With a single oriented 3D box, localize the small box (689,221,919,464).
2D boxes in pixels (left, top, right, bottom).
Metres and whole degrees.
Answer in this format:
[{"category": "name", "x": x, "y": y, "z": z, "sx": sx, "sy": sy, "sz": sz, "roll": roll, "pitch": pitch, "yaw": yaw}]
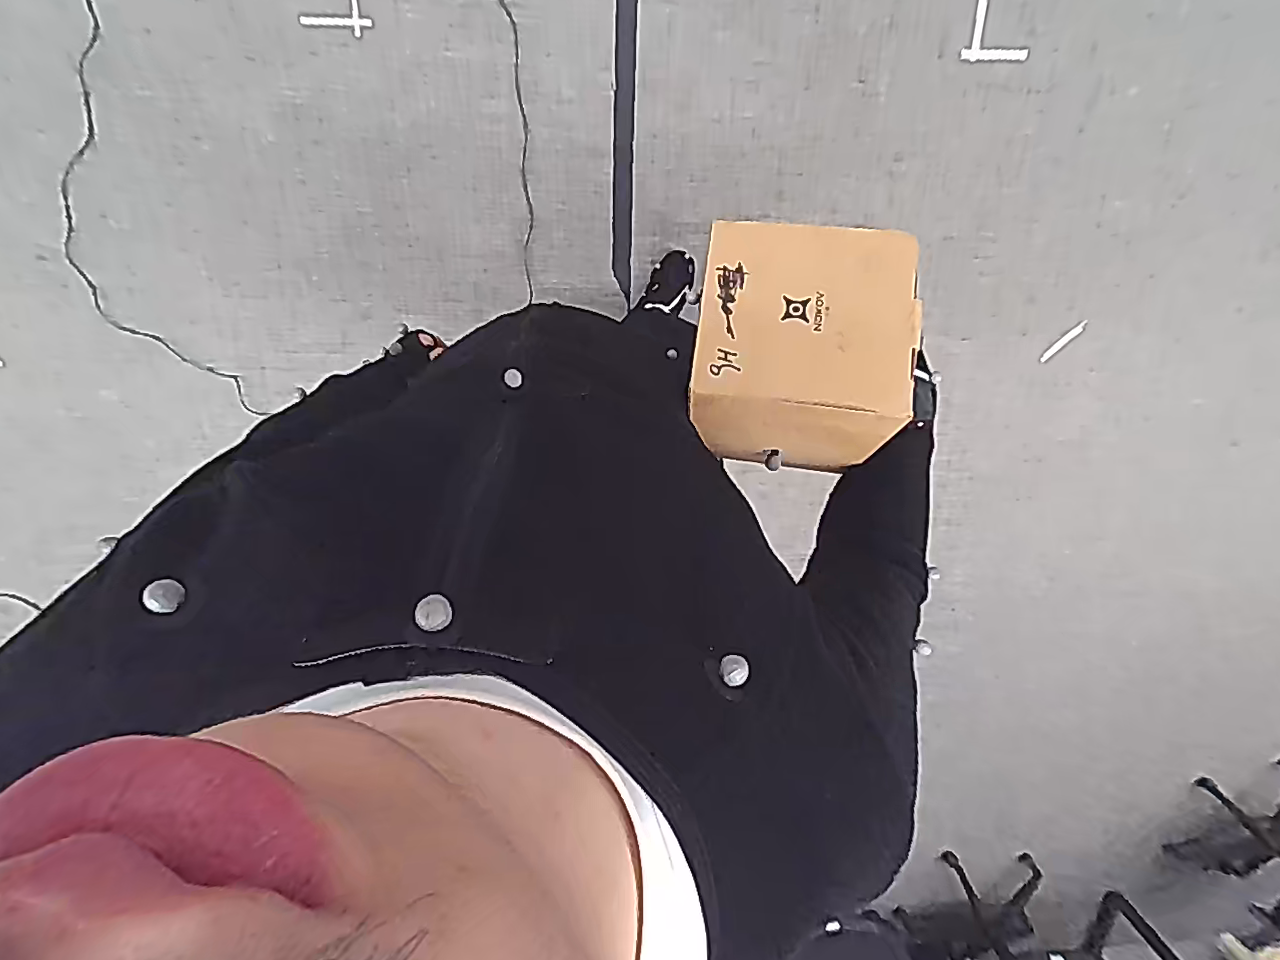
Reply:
[{"category": "small box", "x": 0.148, "y": -0.122, "z": 0.536, "sx": 0.179, "sy": 0.176, "sz": 0.168, "roll": 8, "pitch": 75, "yaw": 6}]
